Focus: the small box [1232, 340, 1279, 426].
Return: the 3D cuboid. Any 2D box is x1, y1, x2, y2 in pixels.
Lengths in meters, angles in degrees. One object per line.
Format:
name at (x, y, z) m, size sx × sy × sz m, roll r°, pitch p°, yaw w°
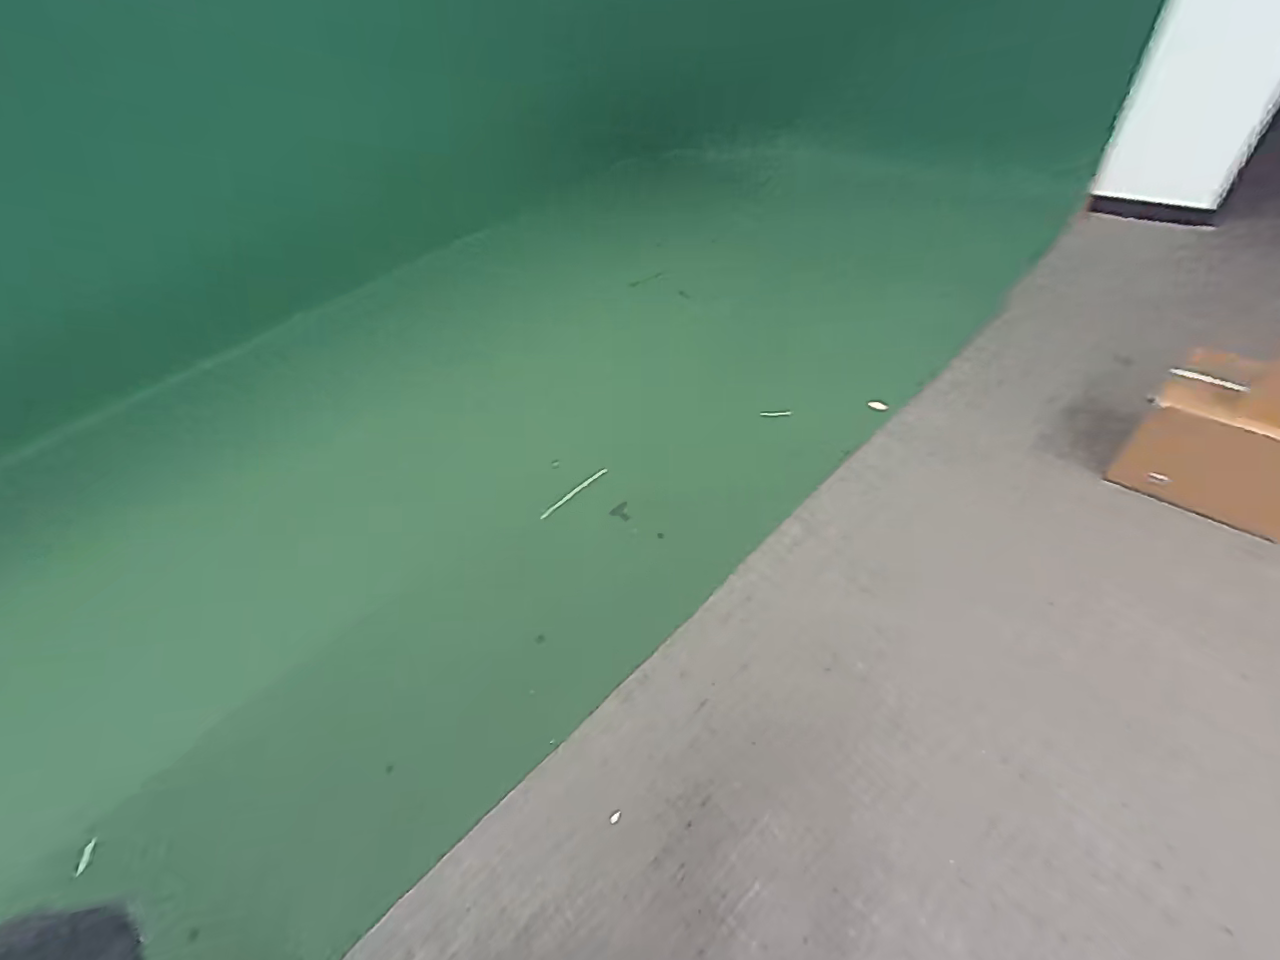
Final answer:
small box at (1.588, -0.233, 1.287) m, size 0.168 × 0.176 × 0.179 m, roll -40°, pitch 54°, yaw -20°
